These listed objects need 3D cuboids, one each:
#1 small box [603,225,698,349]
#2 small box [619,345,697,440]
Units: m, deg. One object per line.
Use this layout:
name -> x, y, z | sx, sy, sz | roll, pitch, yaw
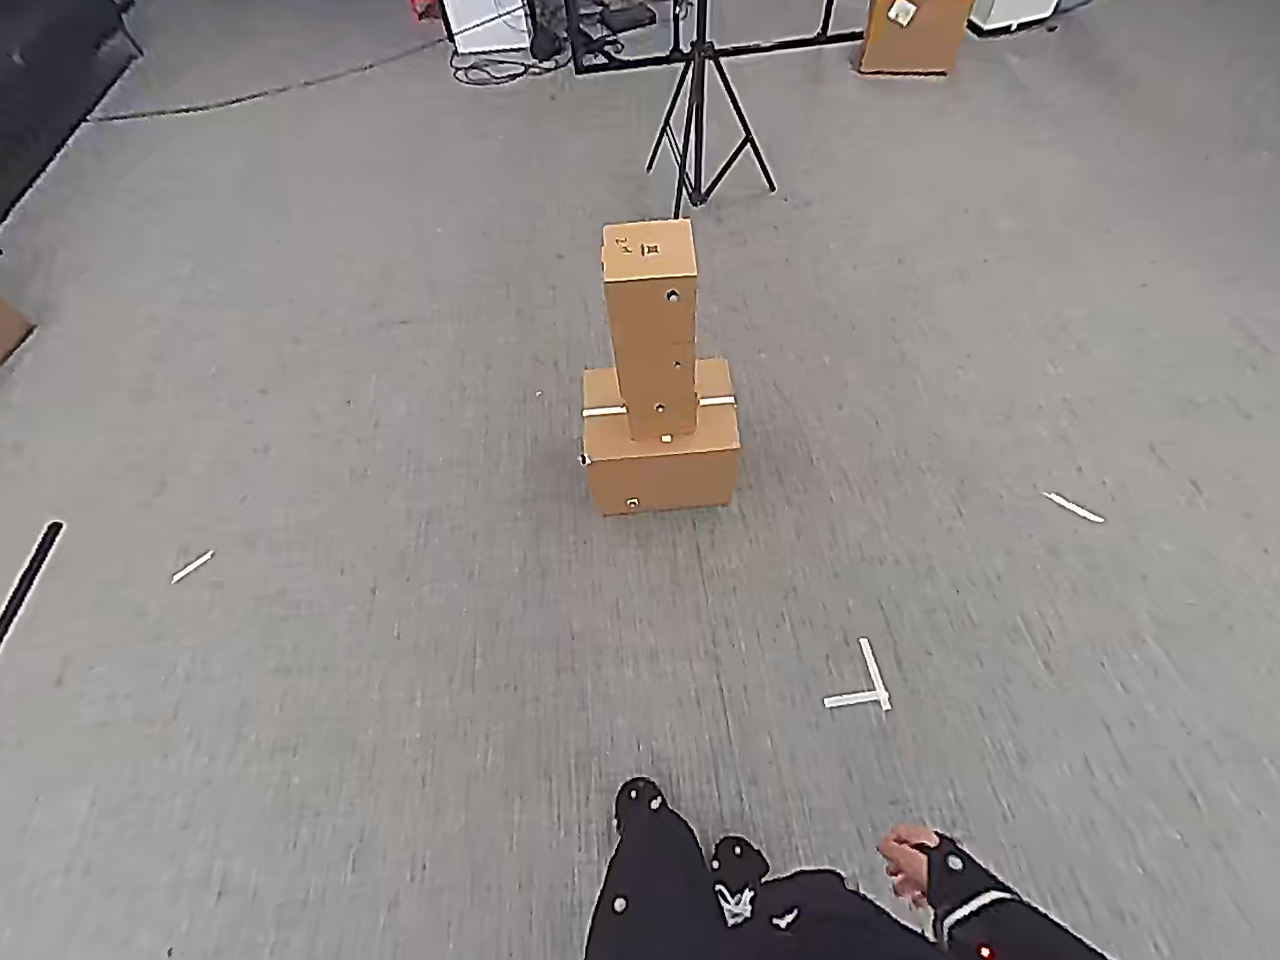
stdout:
small box -> 0.022, -0.384, 1.092 | 0.179, 0.176, 0.168 | -4, 60, 3
small box -> 0.047, -0.217, 1.374 | 0.179, 0.176, 0.168 | -7, 60, 0
